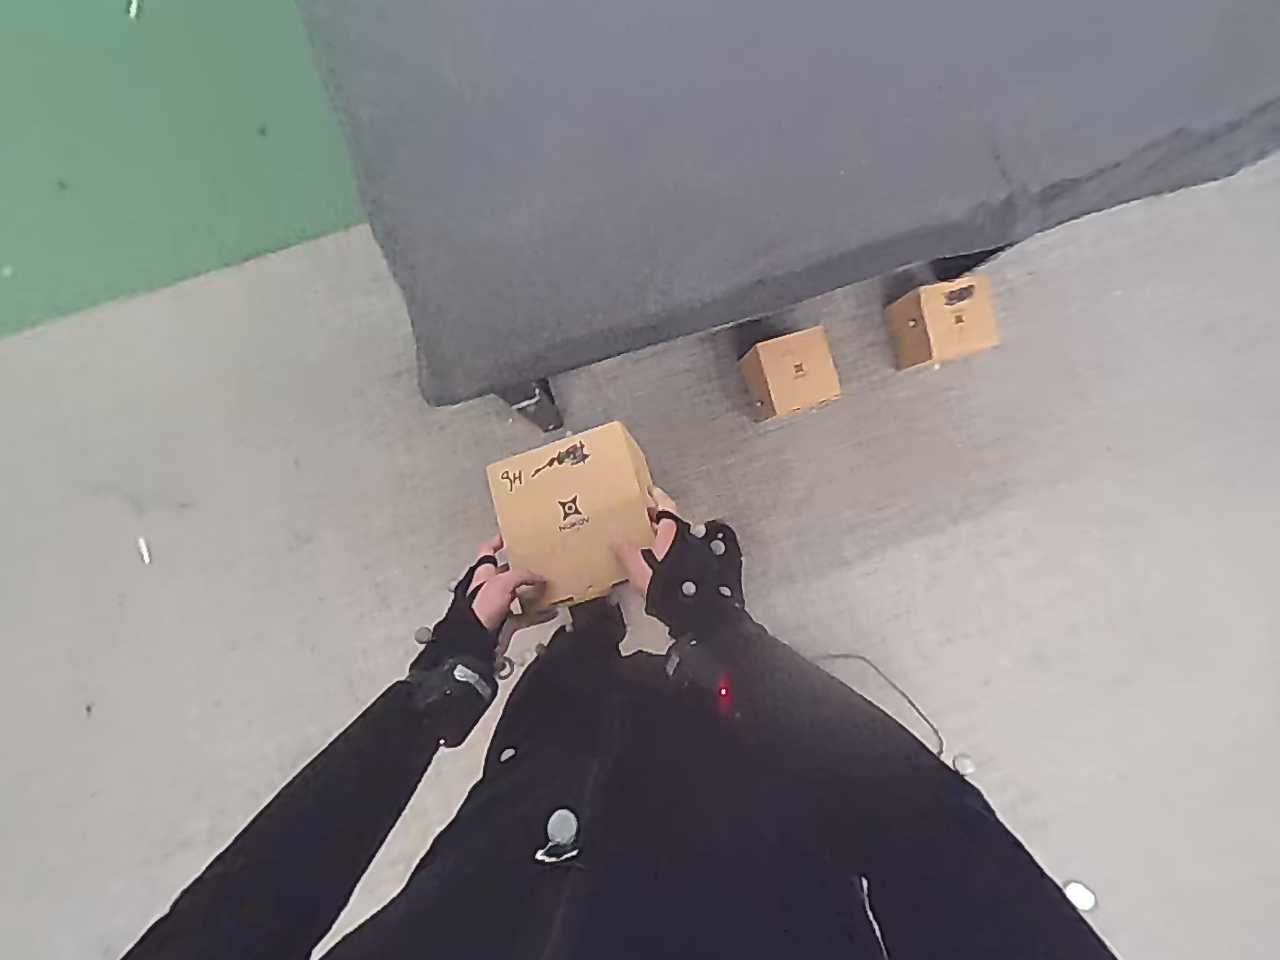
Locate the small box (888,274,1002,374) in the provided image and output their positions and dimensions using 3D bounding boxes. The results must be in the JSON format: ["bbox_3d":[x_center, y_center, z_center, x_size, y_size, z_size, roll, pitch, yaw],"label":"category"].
[{"bbox_3d":[0.746,-0.381,1.343,0.168,0.176,0.179,-14,90,-2],"label":"small box"}]

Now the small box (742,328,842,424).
[{"bbox_3d":[0.367,-0.245,1.333,0.168,0.176,0.179,-18,87,-3],"label":"small box"}]

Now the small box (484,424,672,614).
[{"bbox_3d":[-0.066,0.053,0.666,0.168,0.176,0.179,-17,78,6],"label":"small box"}]
